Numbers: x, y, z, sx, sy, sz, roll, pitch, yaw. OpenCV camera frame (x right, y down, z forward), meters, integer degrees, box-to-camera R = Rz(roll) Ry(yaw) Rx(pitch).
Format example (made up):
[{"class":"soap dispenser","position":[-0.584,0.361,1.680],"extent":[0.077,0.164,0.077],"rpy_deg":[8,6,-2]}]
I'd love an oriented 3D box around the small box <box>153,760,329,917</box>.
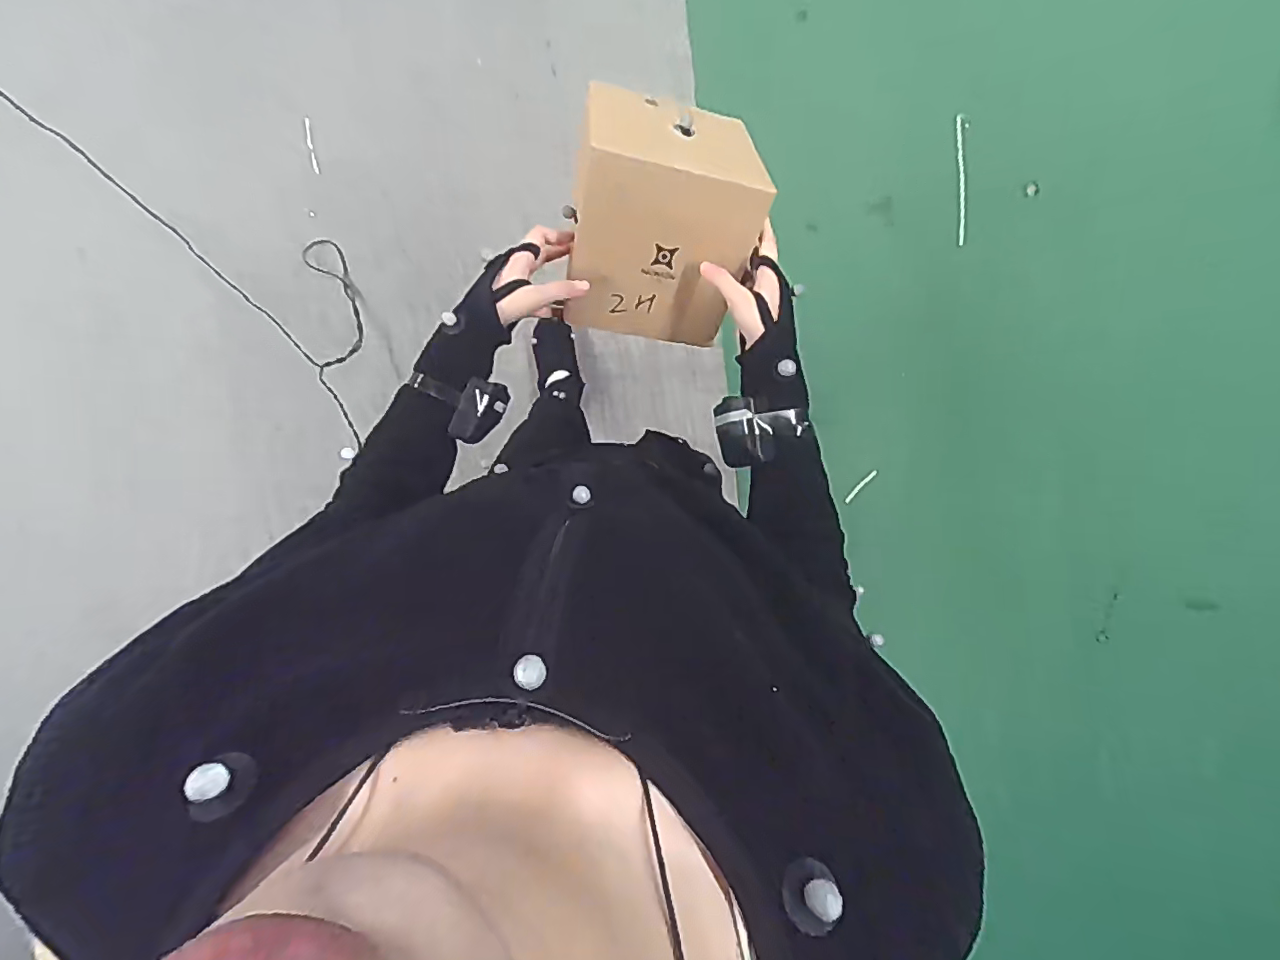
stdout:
[{"class":"small box","position":[-0.683,0.617,0.945],"extent":[0.179,0.176,0.168],"rpy_deg":[-2,99,-1]}]

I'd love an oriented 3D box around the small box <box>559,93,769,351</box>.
[{"class":"small box","position":[0.010,-0.267,0.566],"extent":[0.168,0.176,0.179],"rpy_deg":[7,140,-13]}]
